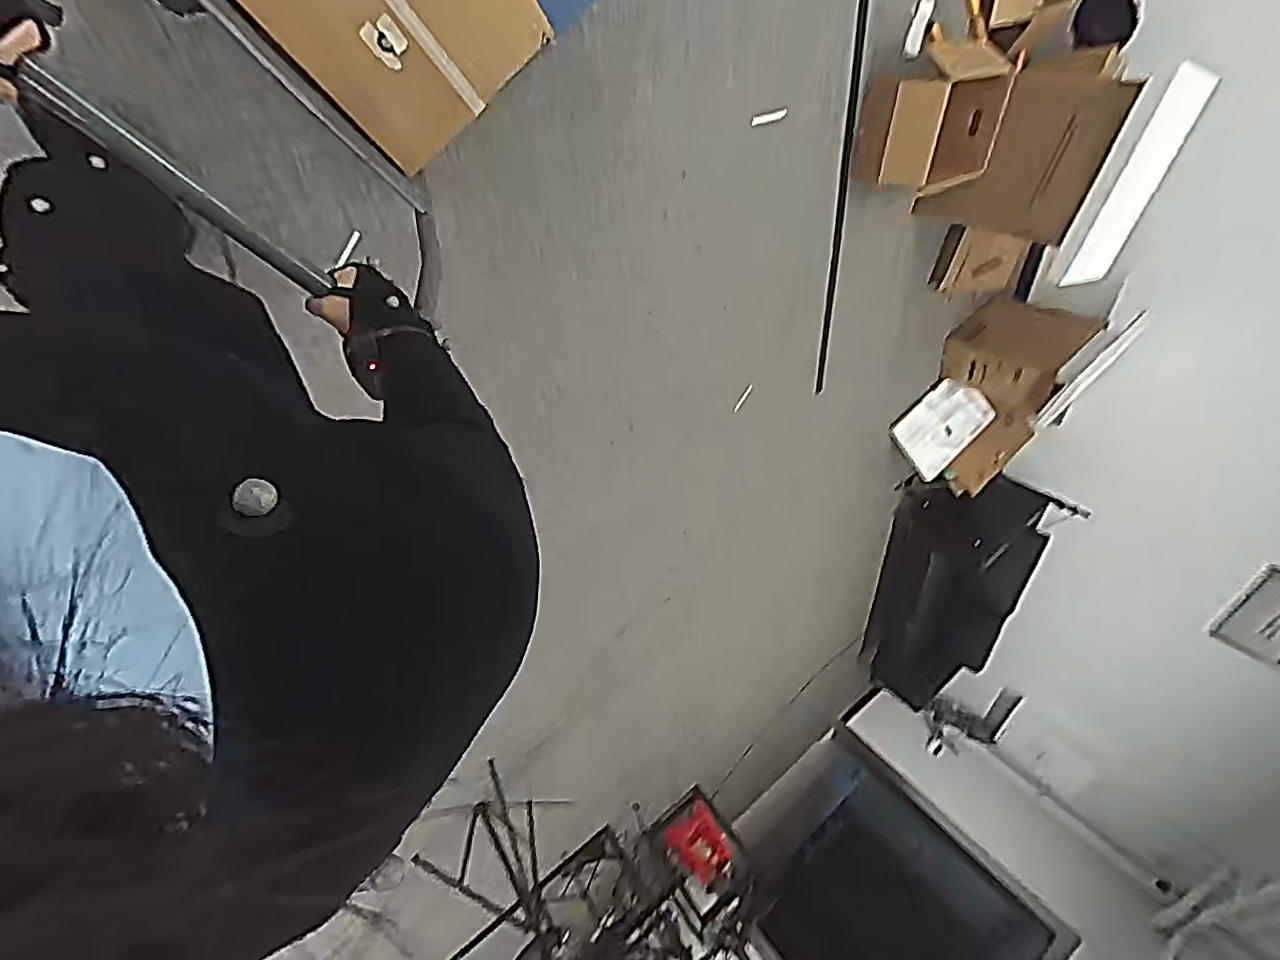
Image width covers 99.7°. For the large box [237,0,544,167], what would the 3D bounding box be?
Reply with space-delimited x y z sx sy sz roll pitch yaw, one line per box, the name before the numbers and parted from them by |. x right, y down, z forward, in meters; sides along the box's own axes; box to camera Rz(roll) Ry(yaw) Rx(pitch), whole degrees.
large box | -0.418 -0.779 0.790 0.320 0.320 0.408 -36 142 11
